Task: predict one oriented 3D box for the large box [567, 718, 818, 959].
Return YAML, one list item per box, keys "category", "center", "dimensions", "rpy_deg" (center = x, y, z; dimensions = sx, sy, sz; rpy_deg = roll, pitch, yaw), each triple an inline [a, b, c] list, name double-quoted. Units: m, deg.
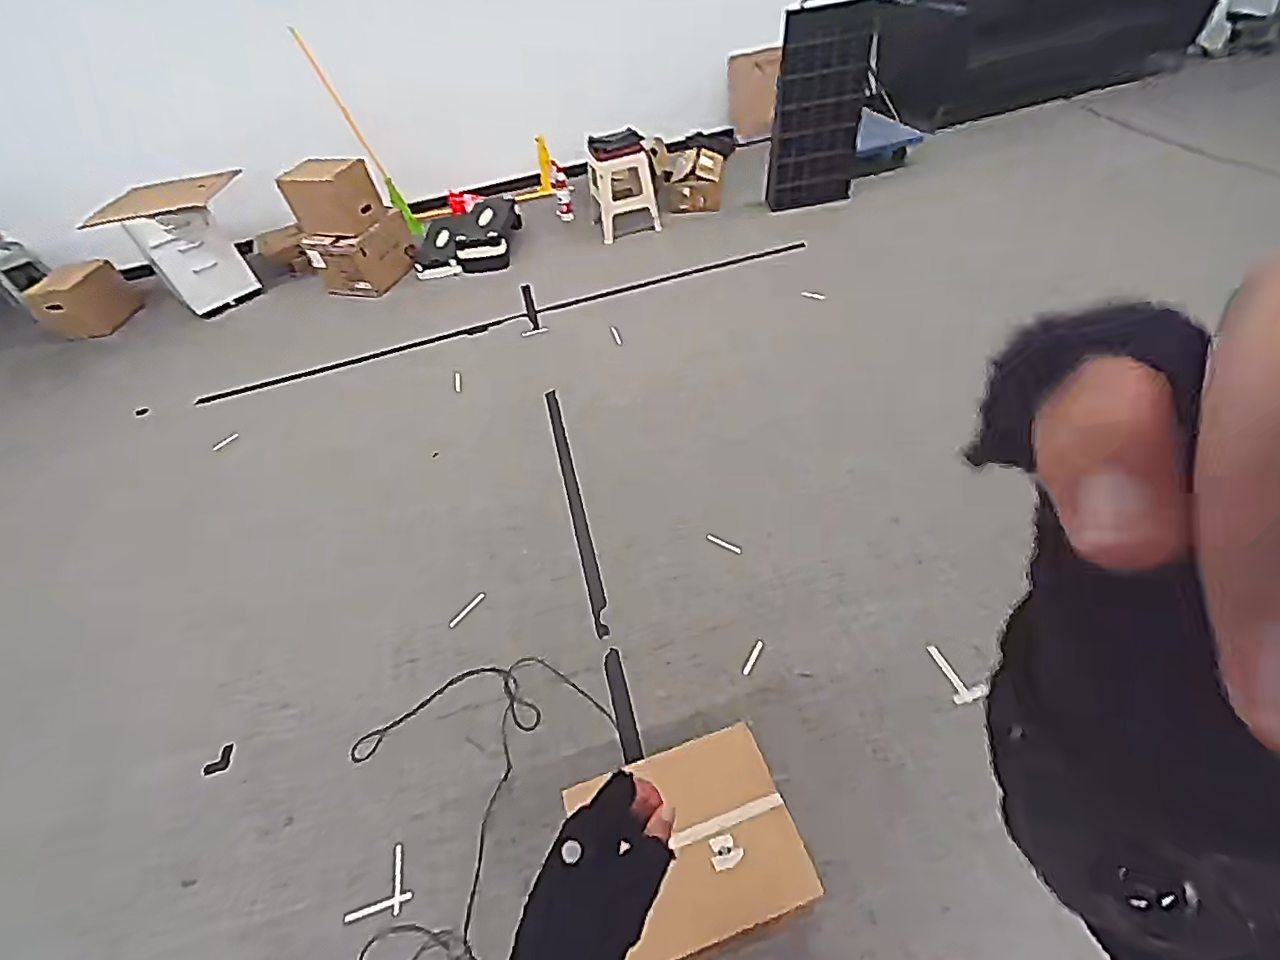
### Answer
- category: "large box"
  center: [0.100, 0.772, 1.123]
  dimensions: [0.408, 0.320, 0.320]
  rpy_deg: [-18, 46, -8]
